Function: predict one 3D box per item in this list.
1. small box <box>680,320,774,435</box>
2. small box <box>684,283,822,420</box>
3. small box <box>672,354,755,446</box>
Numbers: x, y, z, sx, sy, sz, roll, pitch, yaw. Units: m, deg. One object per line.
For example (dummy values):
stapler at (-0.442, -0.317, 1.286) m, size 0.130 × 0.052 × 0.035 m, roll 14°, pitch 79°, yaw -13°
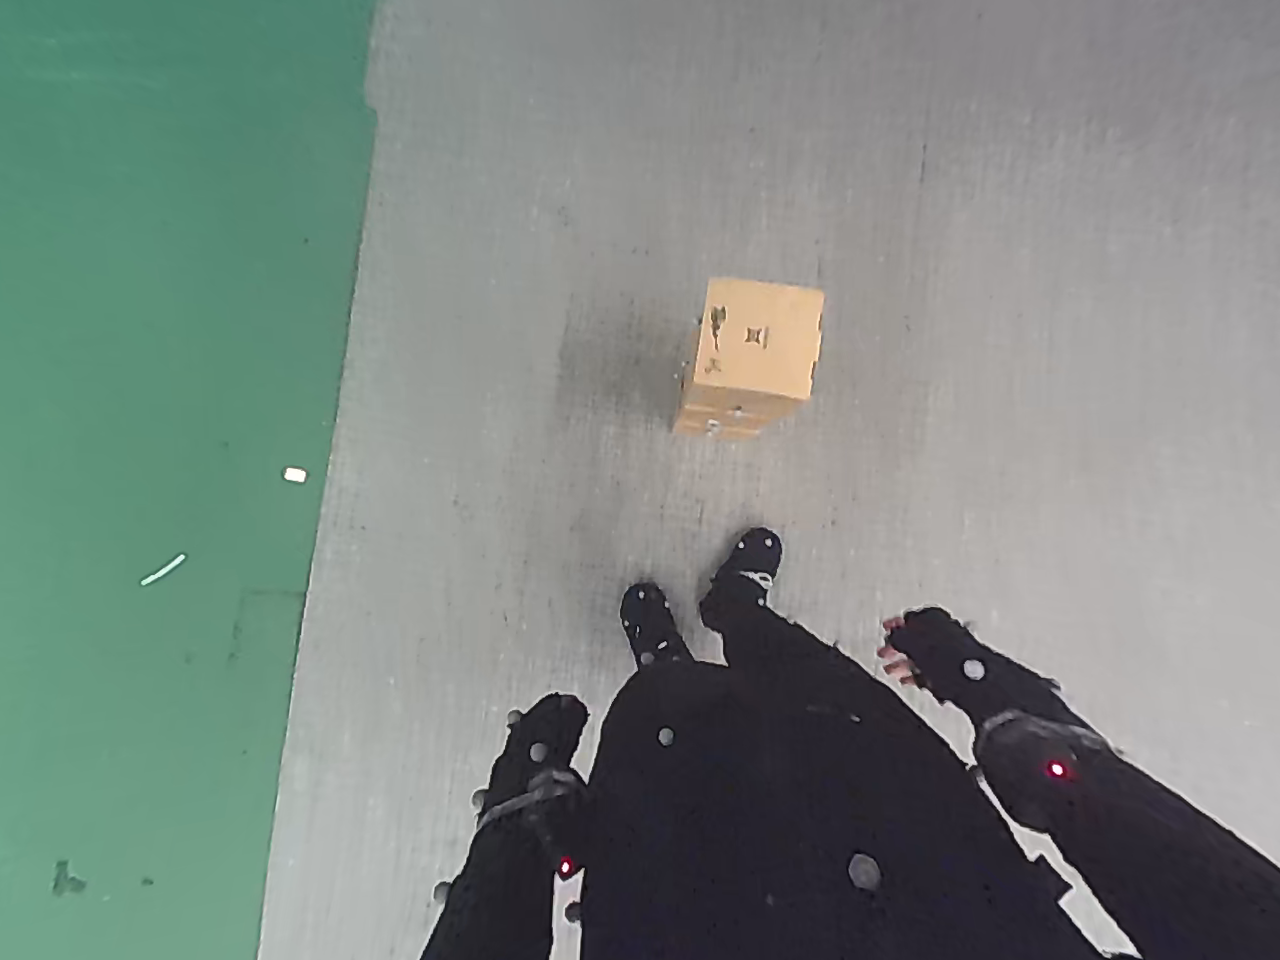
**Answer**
small box at (0.169, -0.191, 1.049) m, size 0.168 × 0.176 × 0.179 m, roll 7°, pitch 88°, yaw 2°
small box at (0.175, -0.198, 0.886) m, size 0.179 × 0.176 × 0.168 m, roll 9°, pitch 87°, yaw 1°
small box at (0.168, -0.175, 1.227) m, size 0.179 × 0.176 × 0.168 m, roll 8°, pitch 88°, yaw 0°
